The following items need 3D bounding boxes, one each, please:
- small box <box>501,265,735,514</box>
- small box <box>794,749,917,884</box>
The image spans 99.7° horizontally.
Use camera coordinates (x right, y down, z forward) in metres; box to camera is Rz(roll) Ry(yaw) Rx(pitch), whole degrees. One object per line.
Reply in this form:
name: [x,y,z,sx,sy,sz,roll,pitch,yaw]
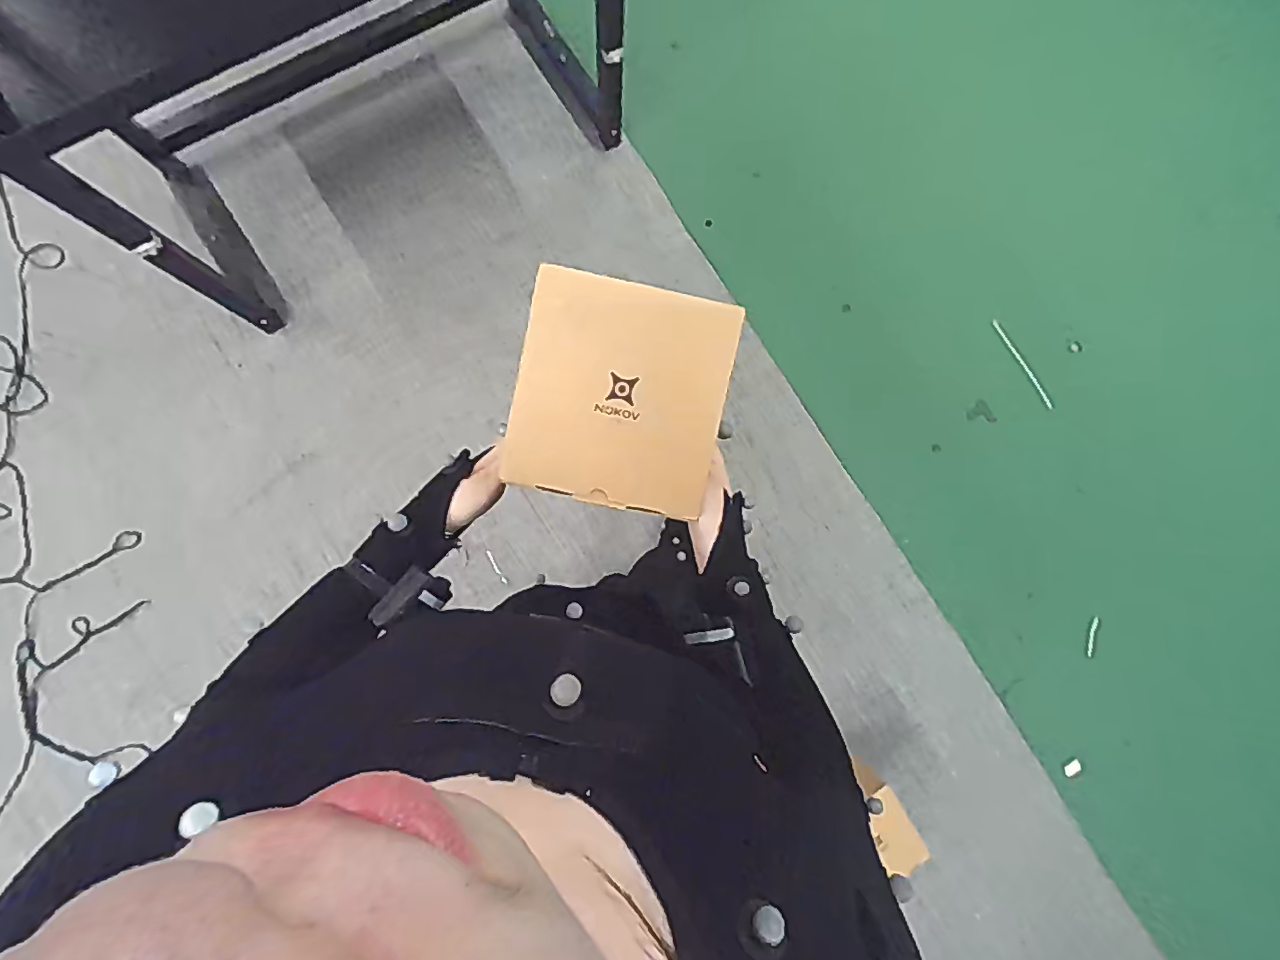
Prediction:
small box: [-0.021,-0.080,0.520,0.168,0.176,0.179,11,96,-2]
small box: [0.493,0.771,1.262,0.168,0.176,0.179,-30,86,-7]
